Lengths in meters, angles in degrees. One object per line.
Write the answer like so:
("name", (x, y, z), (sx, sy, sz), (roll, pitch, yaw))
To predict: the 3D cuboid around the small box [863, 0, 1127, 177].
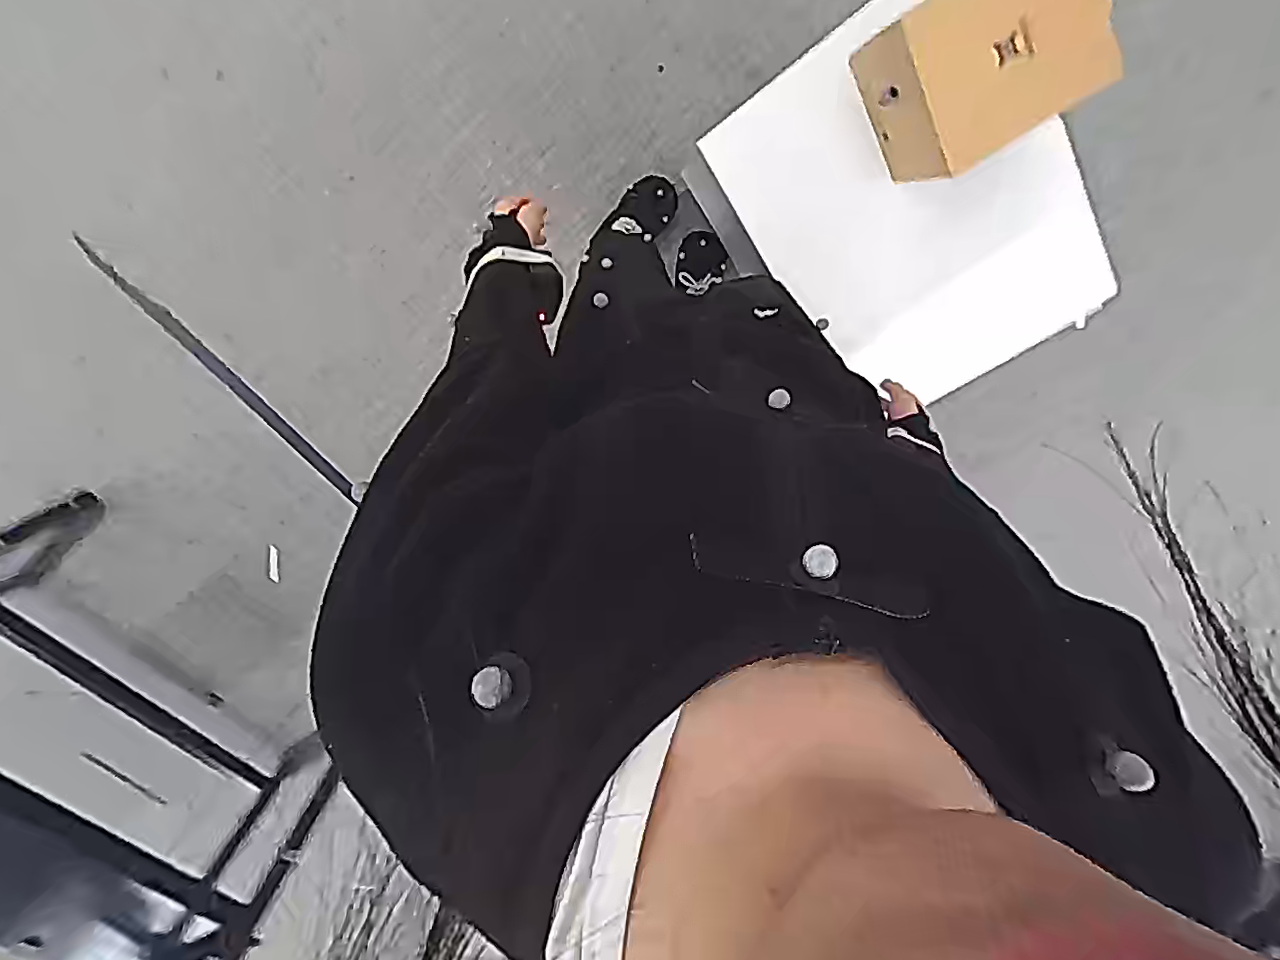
("small box", (0.371, -0.463, 0.599), (0.179, 0.176, 0.168), (-28, 112, 15))
